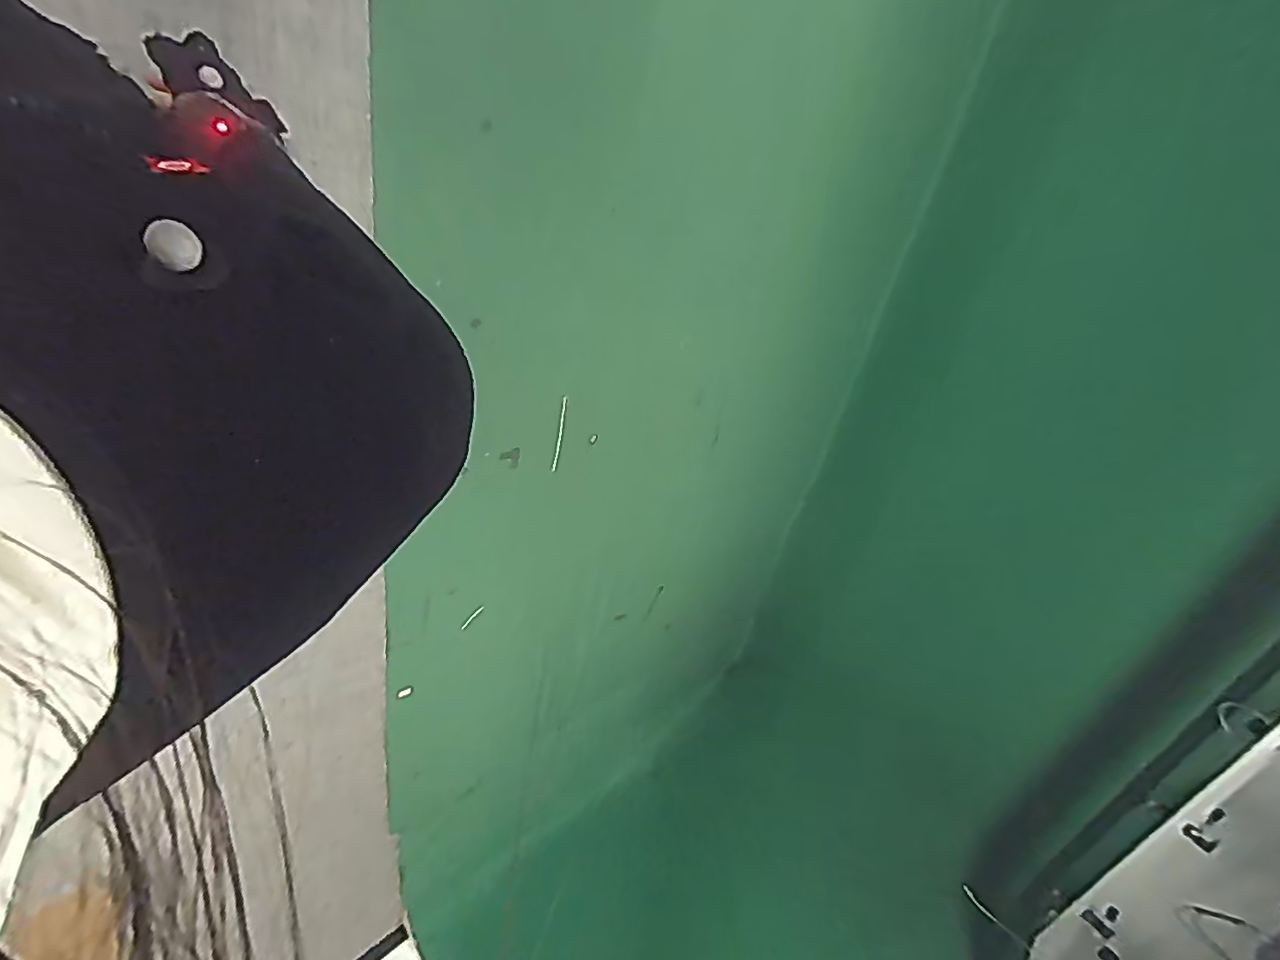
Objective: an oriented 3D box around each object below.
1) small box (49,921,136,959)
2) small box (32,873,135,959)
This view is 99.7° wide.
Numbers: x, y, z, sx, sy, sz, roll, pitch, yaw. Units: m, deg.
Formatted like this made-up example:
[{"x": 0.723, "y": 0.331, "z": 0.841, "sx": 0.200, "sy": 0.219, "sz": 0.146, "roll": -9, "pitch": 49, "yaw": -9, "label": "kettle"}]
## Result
[{"x": -1.470, "y": 1.349, "z": 1.442, "sx": 0.179, "sy": 0.176, "sz": 0.168, "roll": -15, "pitch": 128, "yaw": -44, "label": "small box"}, {"x": -1.584, "y": 1.284, "z": 1.538, "sx": 0.179, "sy": 0.176, "sz": 0.168, "roll": -18, "pitch": 131, "yaw": -44, "label": "small box"}]
